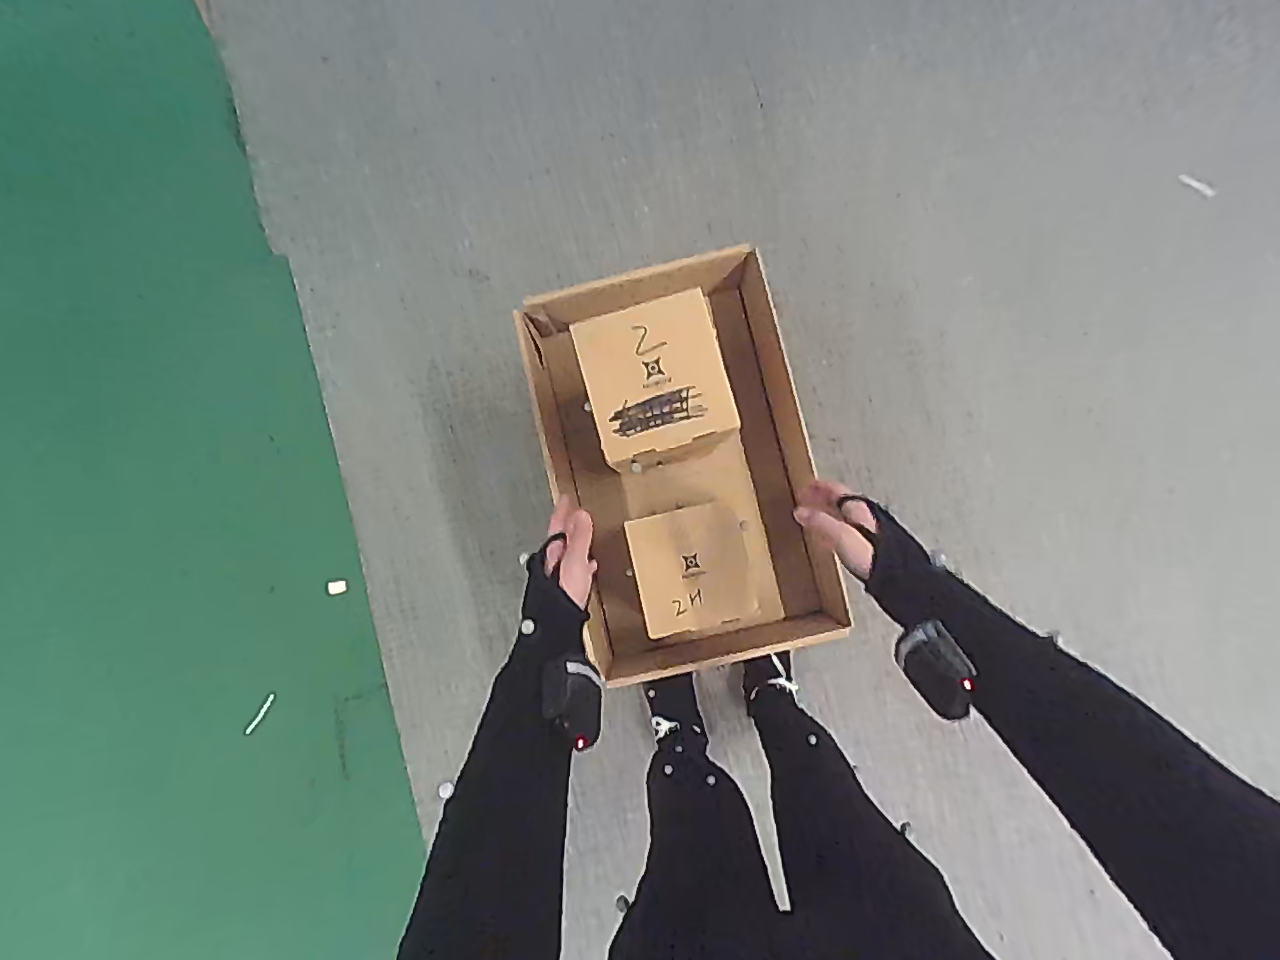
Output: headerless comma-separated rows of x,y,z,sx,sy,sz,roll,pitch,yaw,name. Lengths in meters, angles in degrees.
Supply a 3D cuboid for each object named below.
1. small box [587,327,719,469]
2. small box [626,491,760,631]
0.021,-0.123,0.881,0.168,0.176,0.179,-15,88,2,small box
0.078,0.124,0.857,0.168,0.176,0.179,-13,85,3,small box
